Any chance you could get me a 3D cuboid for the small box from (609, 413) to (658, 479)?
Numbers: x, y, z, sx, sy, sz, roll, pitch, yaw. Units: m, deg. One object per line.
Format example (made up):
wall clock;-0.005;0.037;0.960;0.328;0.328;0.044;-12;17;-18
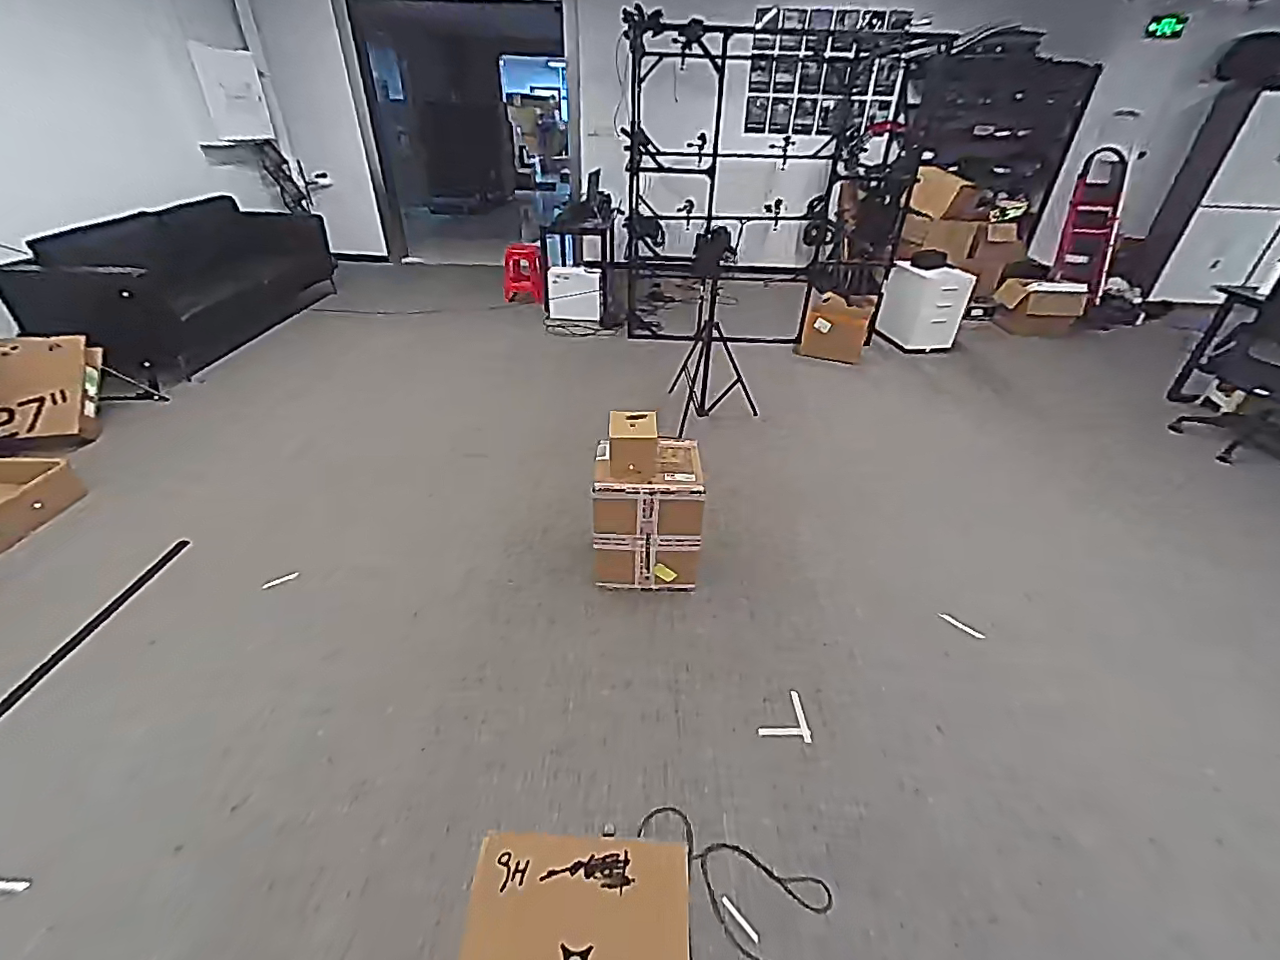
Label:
small box;-0.025;-0.123;1.918;0.168;0.176;0.179;0;38;-1
